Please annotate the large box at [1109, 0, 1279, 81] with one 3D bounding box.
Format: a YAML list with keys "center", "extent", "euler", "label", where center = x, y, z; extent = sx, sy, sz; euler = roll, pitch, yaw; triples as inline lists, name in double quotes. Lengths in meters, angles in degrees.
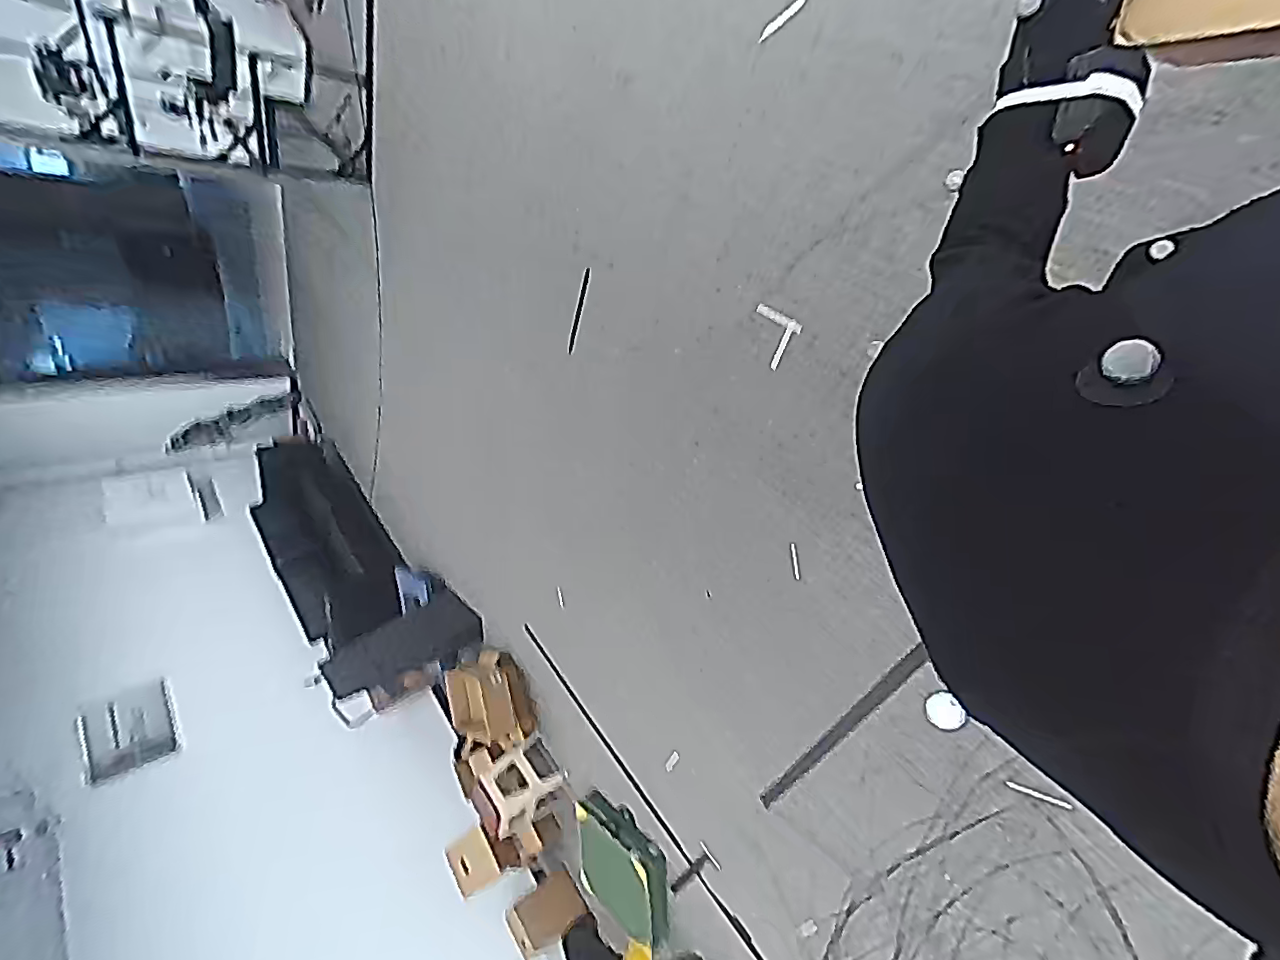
- center: [0.582, -0.449, 0.297]
  extent: [0.408, 0.320, 0.320]
  euler: [23, 131, 40]
  label: "large box"
